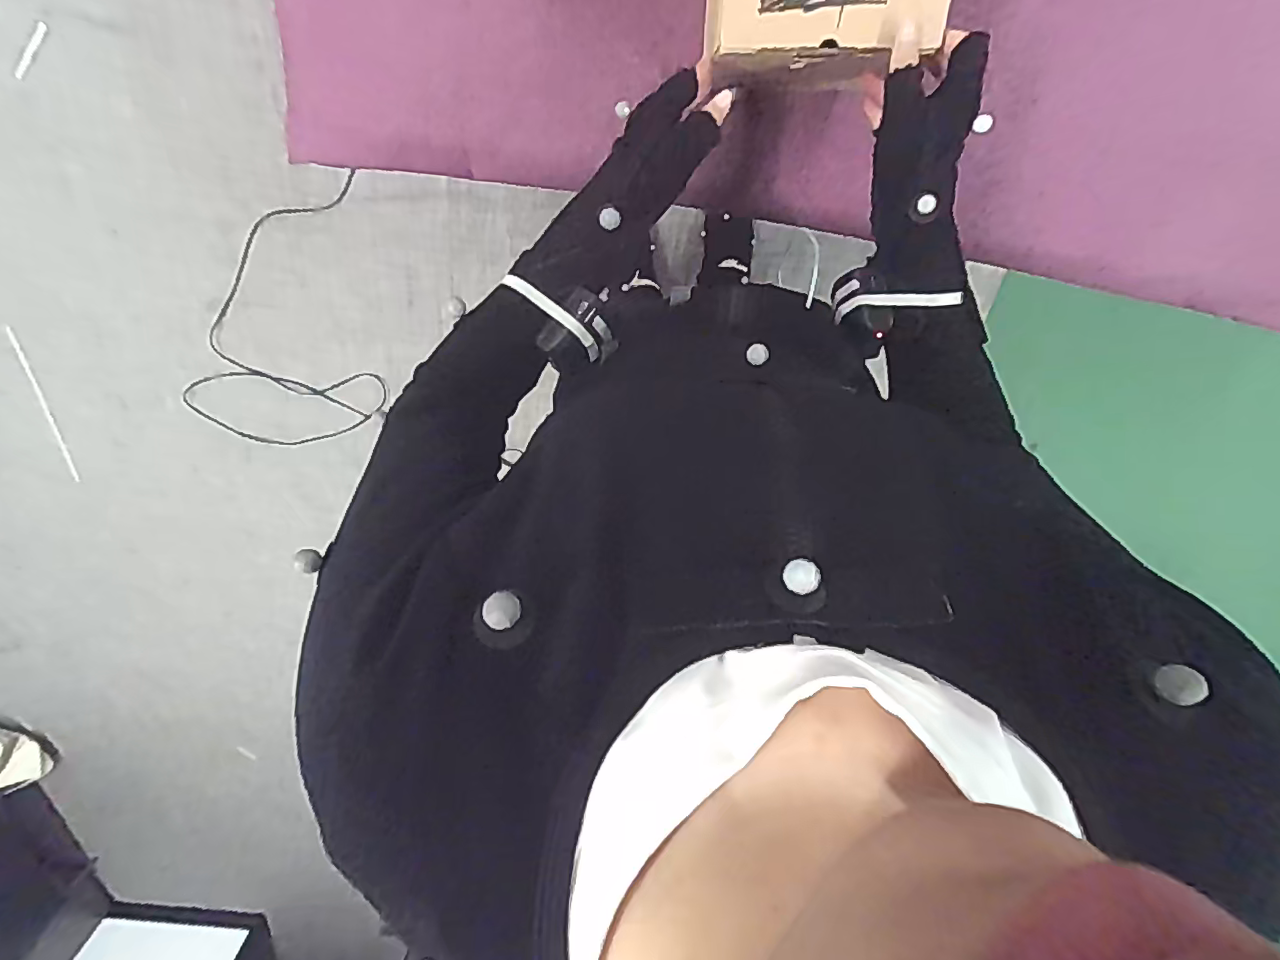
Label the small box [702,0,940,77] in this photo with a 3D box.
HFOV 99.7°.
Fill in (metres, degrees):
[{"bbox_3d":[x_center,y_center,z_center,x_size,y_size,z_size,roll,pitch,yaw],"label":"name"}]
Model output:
[{"bbox_3d":[0.140,-0.441,0.430,0.168,0.176,0.179,2,118,1],"label":"small box"}]
